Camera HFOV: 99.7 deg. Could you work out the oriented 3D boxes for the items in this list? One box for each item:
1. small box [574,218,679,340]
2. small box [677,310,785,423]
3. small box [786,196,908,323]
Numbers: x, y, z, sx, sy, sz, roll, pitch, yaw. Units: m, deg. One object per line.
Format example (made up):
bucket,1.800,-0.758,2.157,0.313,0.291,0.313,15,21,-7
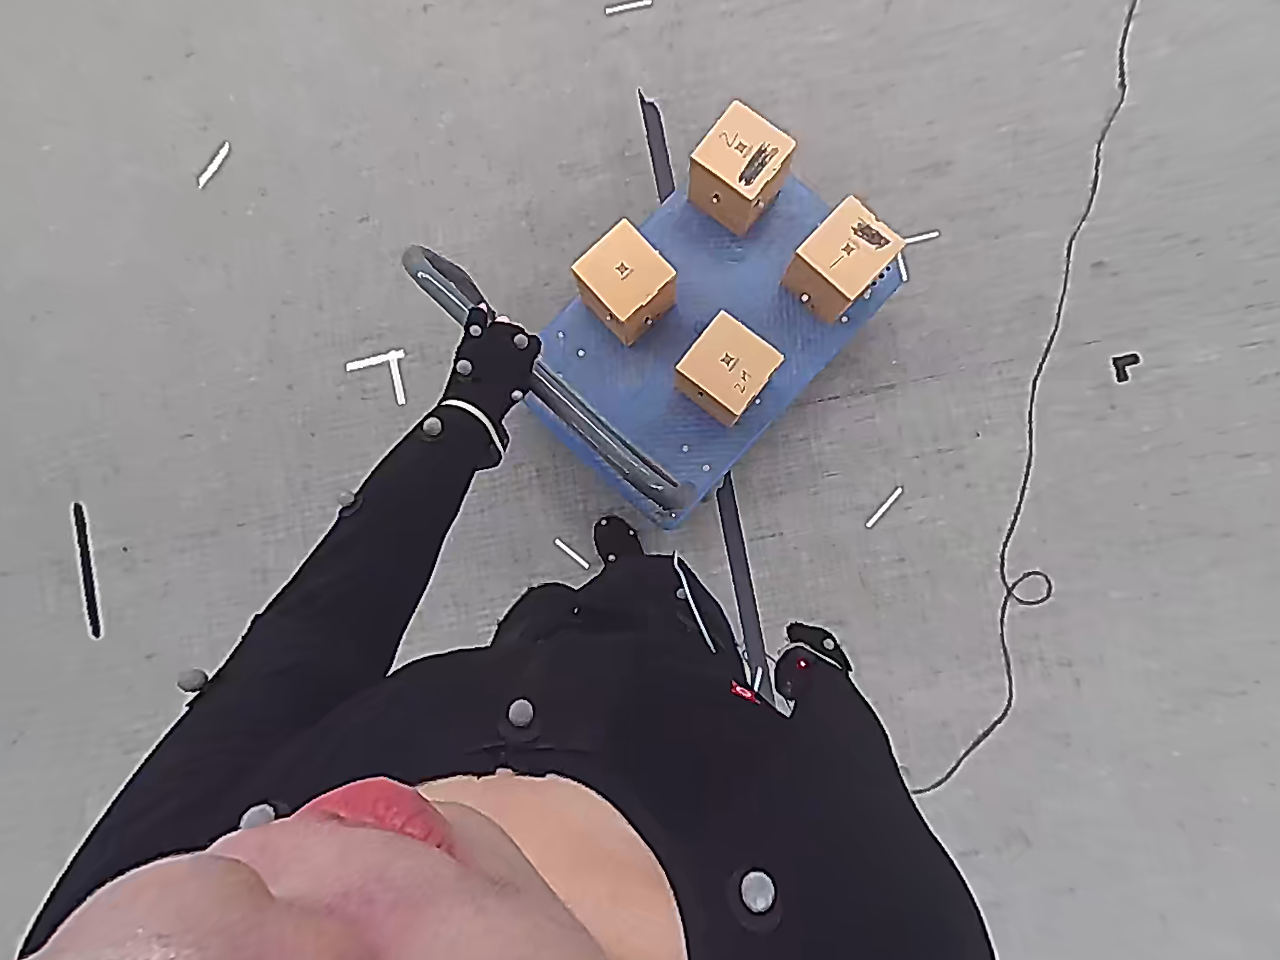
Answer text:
small box,-0.029,-0.458,1.264,0.168,0.176,0.179,-42,87,-1
small box,0.199,-0.250,1.241,0.179,0.176,0.168,39,89,4
small box,0.463,-0.497,1.242,0.168,0.176,0.179,44,91,4
